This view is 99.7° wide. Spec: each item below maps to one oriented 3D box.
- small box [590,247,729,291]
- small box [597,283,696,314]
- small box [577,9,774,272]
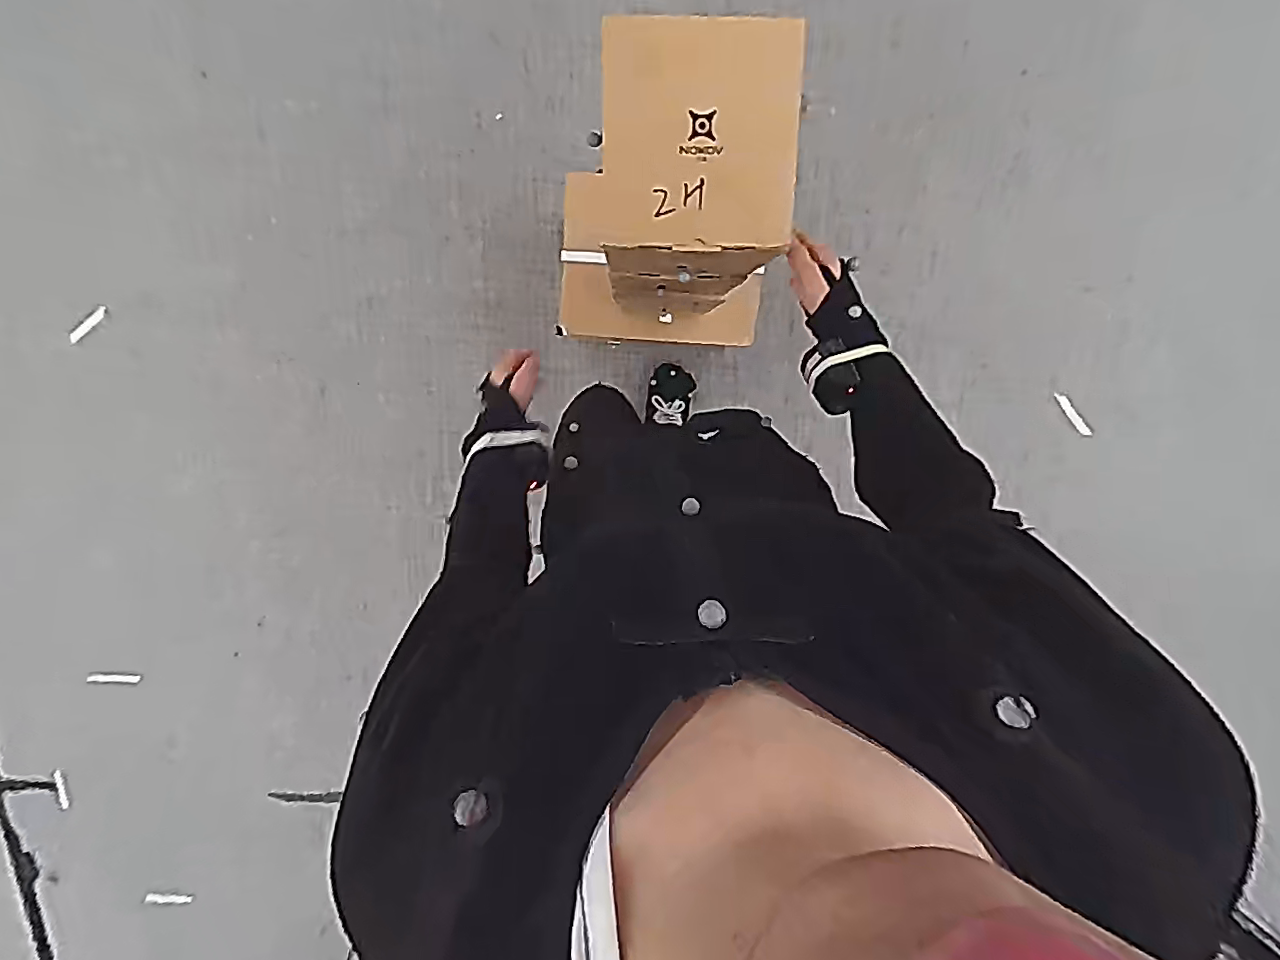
[{"bbox_3d":[0.018,-0.345,0.696,0.168,0.176,0.179,-2,103,-3],"label":"small box"},{"bbox_3d":[0.007,-0.404,1.017,0.179,0.176,0.168,-3,103,-4],"label":"small box"},{"bbox_3d":[0.027,-0.313,0.534,0.168,0.176,0.179,-3,103,-2],"label":"small box"}]
